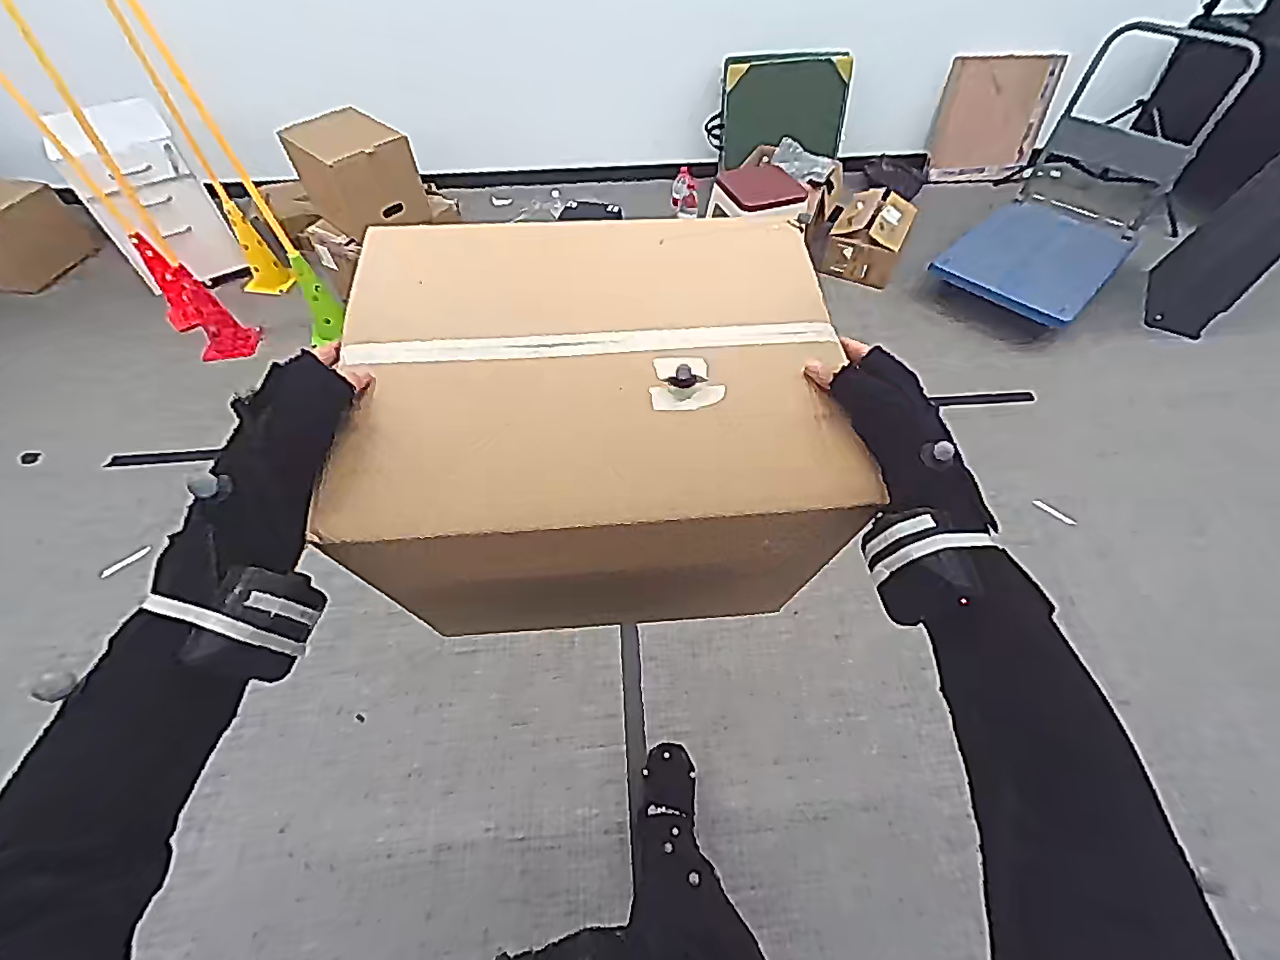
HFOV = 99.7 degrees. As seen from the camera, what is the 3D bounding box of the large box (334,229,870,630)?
[{"bbox_3d":[-0.041,-0.038,0.593,0.408,0.320,0.320,-3,63,-4],"label":"large box"}]
